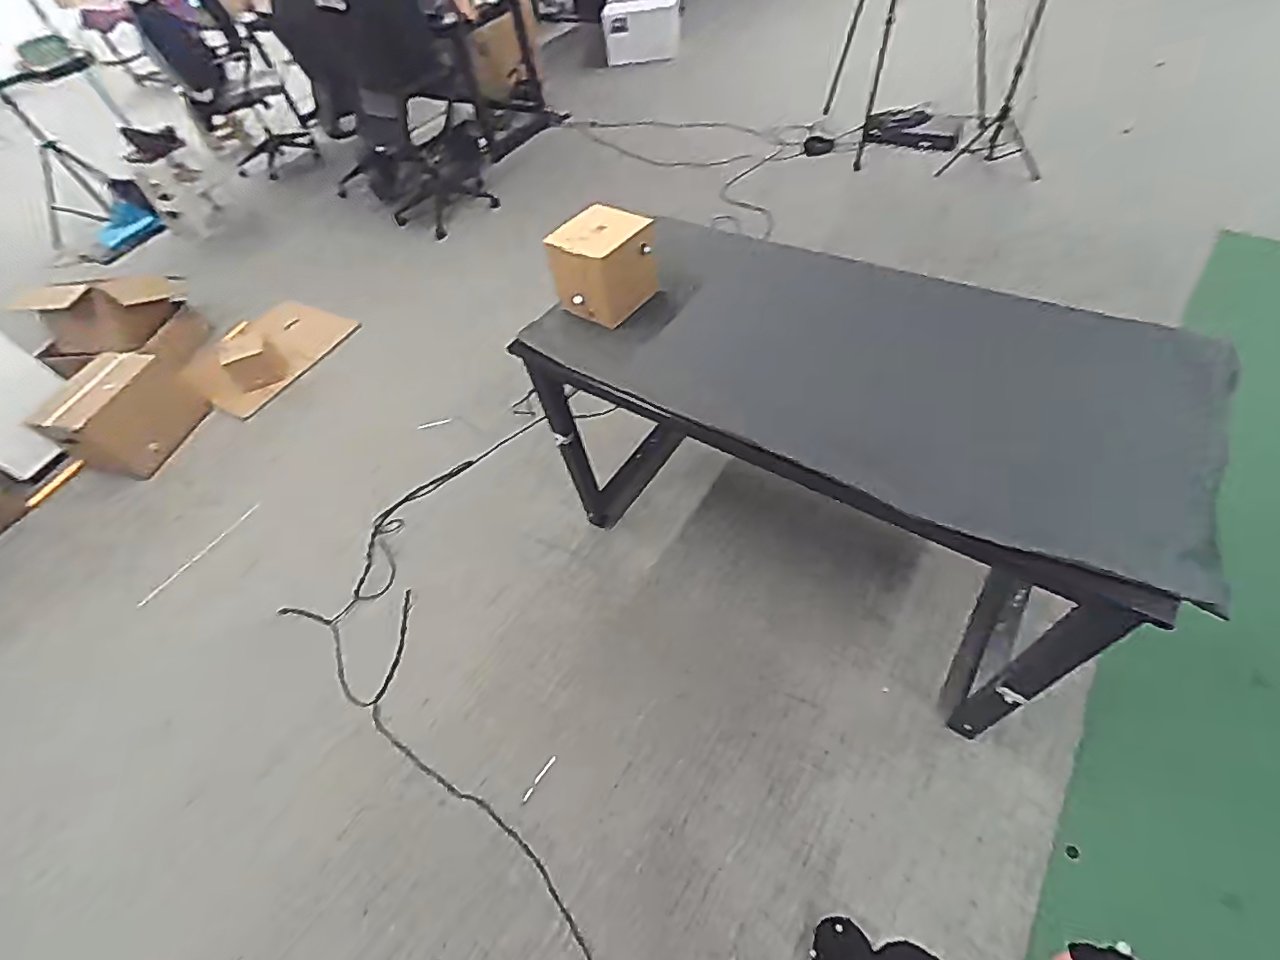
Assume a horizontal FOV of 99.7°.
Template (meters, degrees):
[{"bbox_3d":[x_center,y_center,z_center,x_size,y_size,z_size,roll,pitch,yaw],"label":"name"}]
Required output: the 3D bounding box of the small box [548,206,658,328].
[{"bbox_3d":[-0.072,-0.470,1.197,0.168,0.176,0.179,29,61,27],"label":"small box"}]
